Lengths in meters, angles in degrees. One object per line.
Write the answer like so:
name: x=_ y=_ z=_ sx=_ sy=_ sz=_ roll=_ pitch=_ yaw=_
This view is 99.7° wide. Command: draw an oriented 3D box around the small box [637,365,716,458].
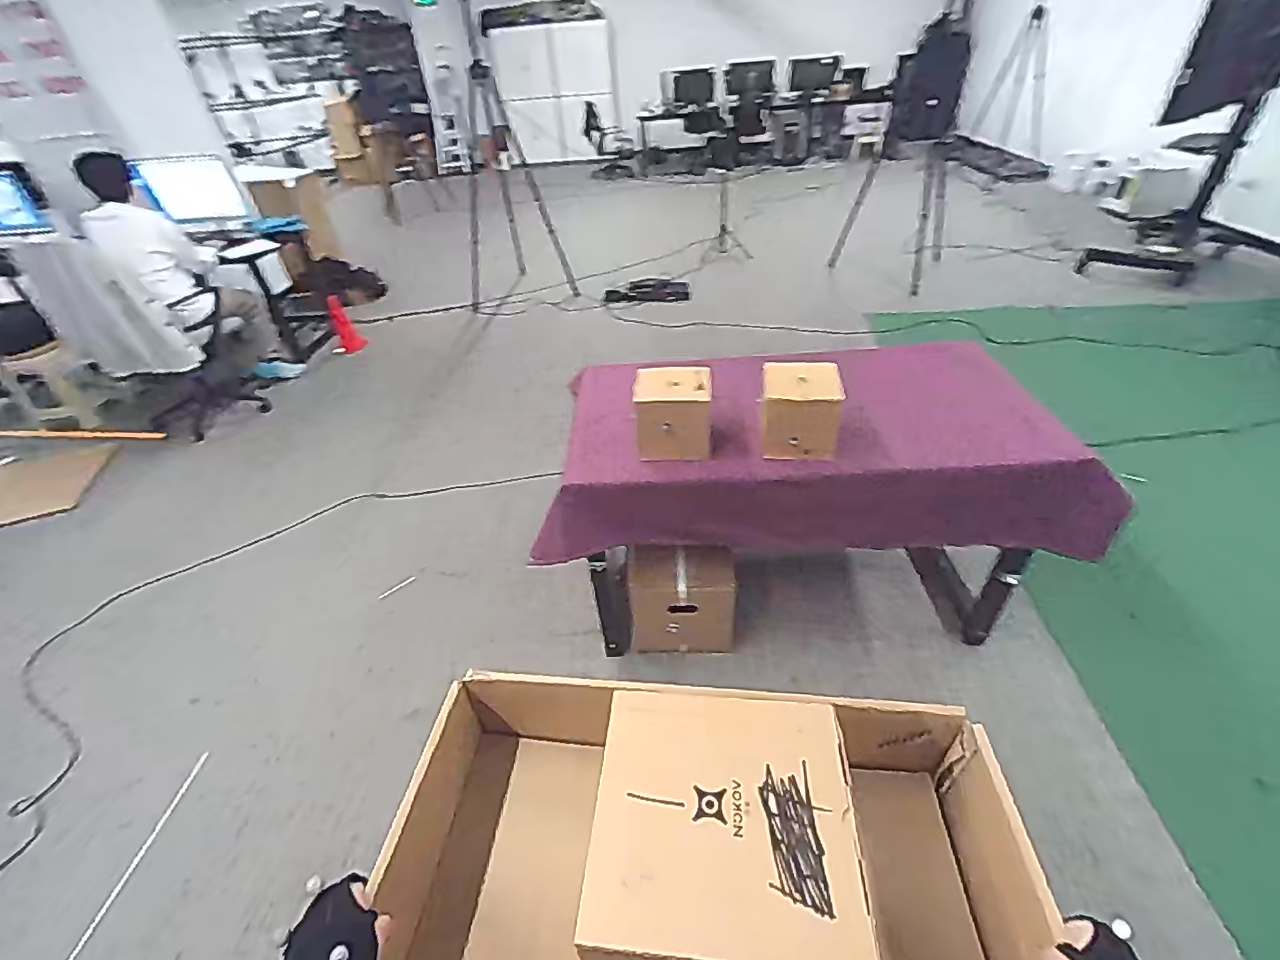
small box: x=0.094 y=-0.164 z=1.321 sx=0.179 sy=0.176 sz=0.168 roll=-1 pitch=40 yaw=7

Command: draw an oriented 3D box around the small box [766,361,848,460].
small box: x=0.390 y=-0.168 z=1.293 sx=0.168 sy=0.176 sz=0.179 roll=3 pitch=40 yaw=10

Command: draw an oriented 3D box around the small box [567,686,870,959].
small box: x=0.056 y=0.285 z=0.419 sx=0.179 sy=0.176 sz=0.168 roll=0 pitch=37 yaw=7
